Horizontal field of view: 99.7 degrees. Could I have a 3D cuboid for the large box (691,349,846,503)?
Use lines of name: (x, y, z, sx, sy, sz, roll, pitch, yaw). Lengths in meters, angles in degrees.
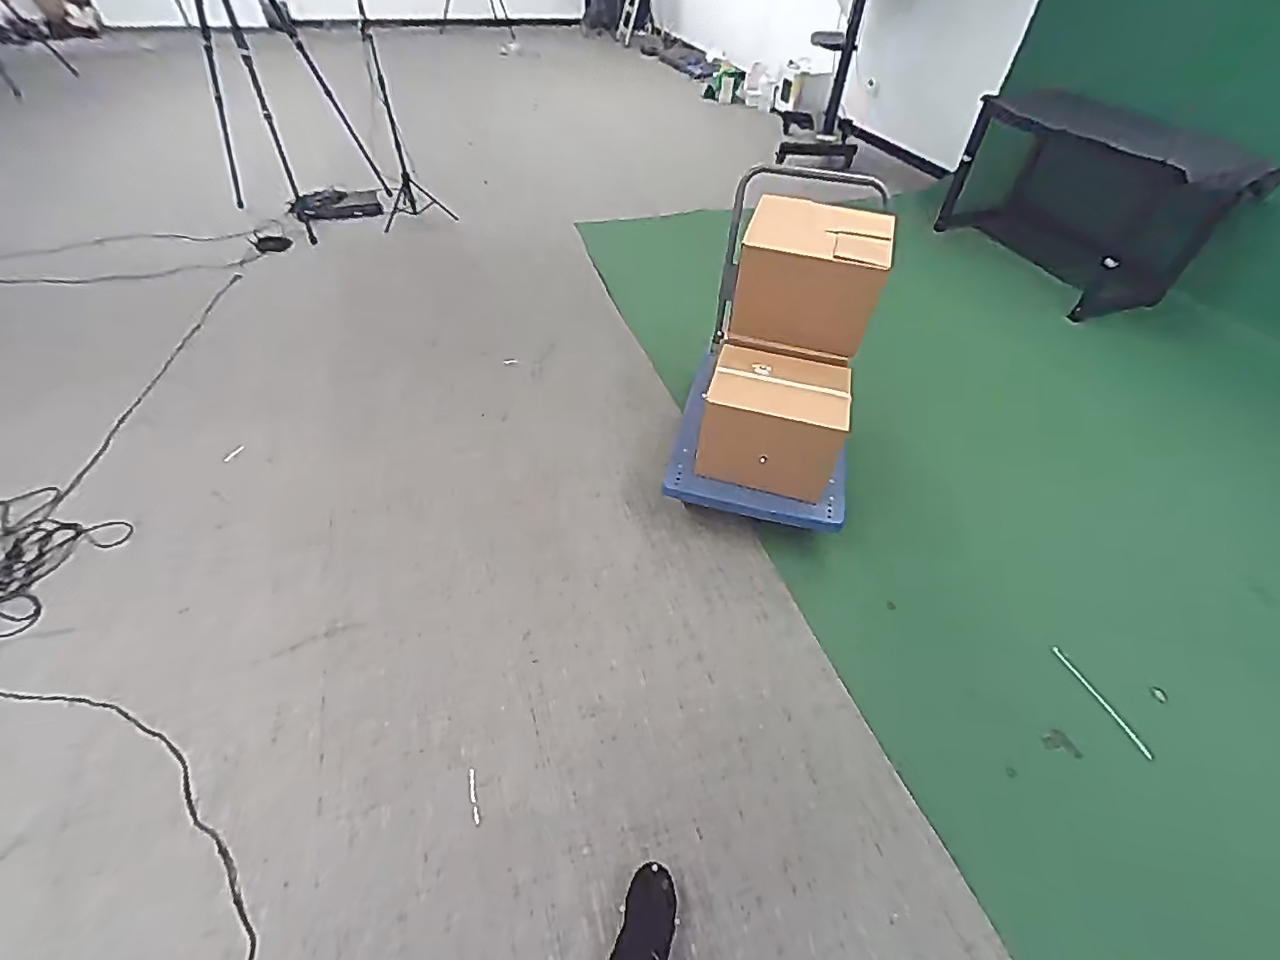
large box: (0.401, -0.170, 1.707, 0.408, 0.320, 0.320, 14, 47, 10)
